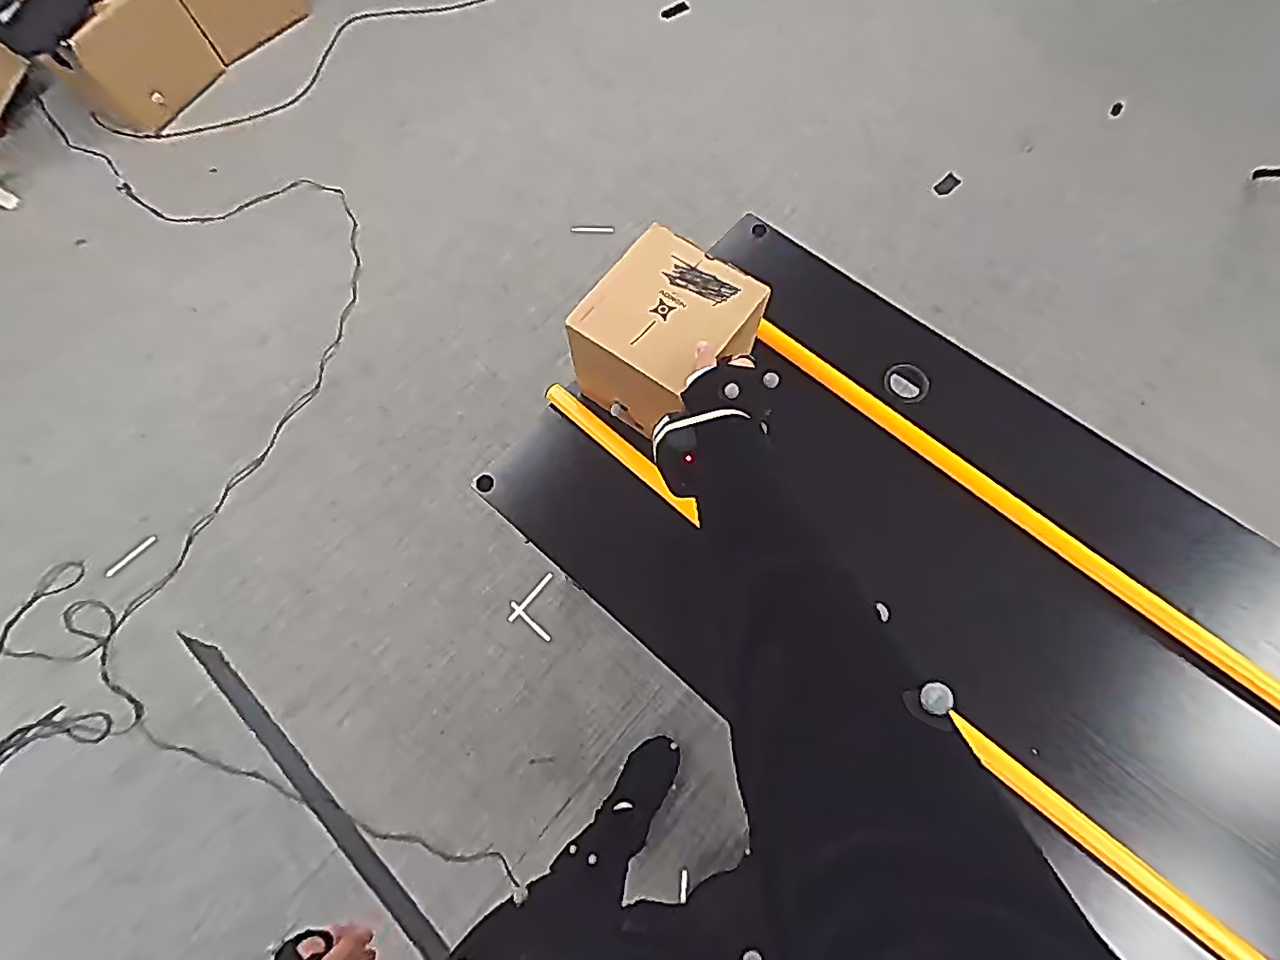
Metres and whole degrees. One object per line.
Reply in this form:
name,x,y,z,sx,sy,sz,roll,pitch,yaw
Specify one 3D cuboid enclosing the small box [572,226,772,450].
small box,0.037,-0.170,0.685,0.168,0.176,0.179,35,76,12
